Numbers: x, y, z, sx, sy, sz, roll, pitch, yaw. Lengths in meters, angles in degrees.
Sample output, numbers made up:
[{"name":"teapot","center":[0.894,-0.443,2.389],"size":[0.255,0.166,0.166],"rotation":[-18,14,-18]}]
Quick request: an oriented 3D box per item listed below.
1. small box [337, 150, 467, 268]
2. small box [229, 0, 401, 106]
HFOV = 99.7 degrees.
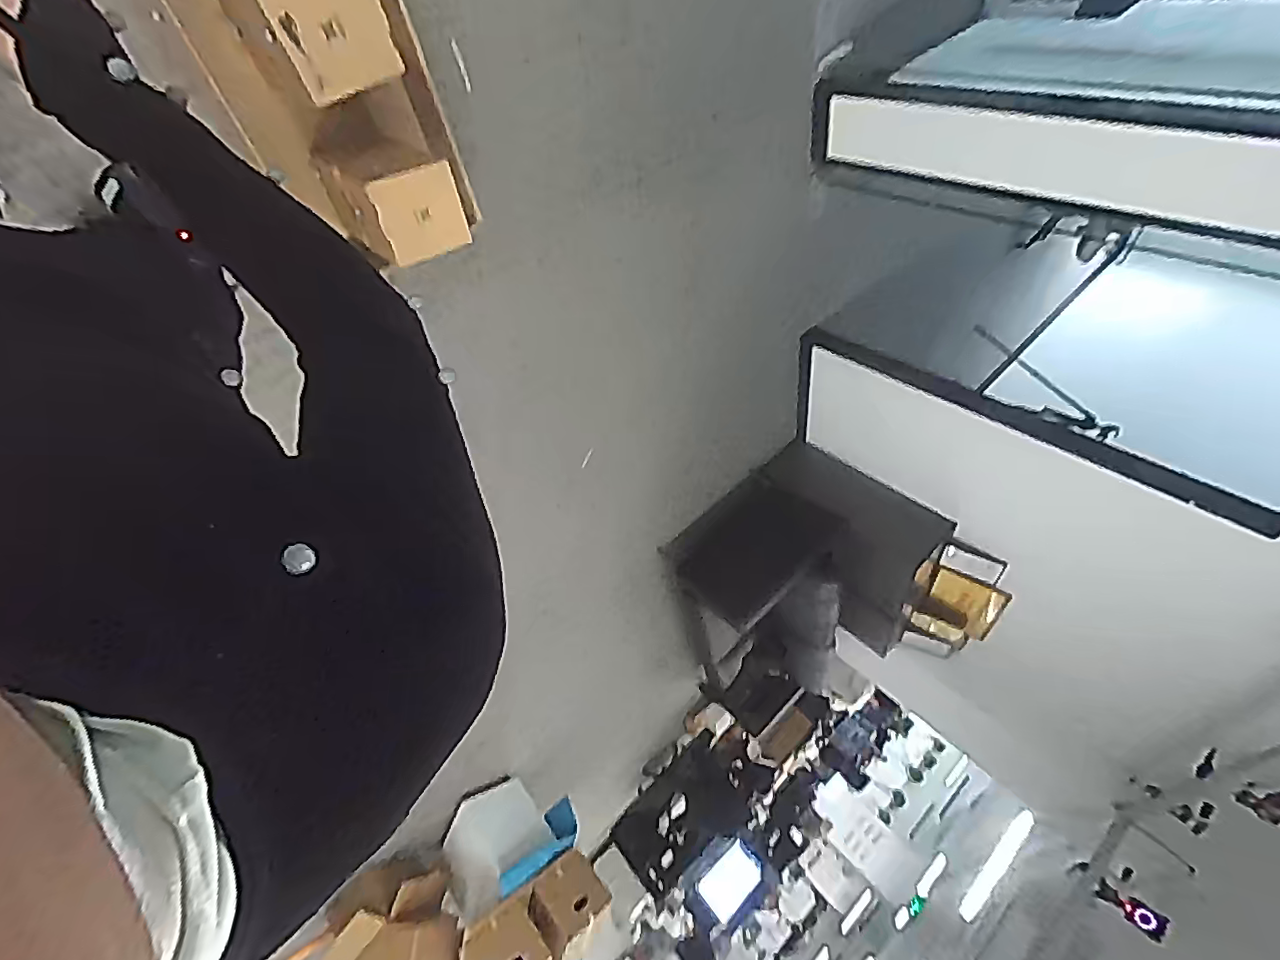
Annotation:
[{"name":"small box","center":[-0.507,-0.587,1.159],"size":[0.179,0.176,0.168],"rotation":[-34,142,-23]},{"name":"small box","center":[-0.558,-0.774,0.930],"size":[0.179,0.176,0.168],"rotation":[-40,142,-19]}]
